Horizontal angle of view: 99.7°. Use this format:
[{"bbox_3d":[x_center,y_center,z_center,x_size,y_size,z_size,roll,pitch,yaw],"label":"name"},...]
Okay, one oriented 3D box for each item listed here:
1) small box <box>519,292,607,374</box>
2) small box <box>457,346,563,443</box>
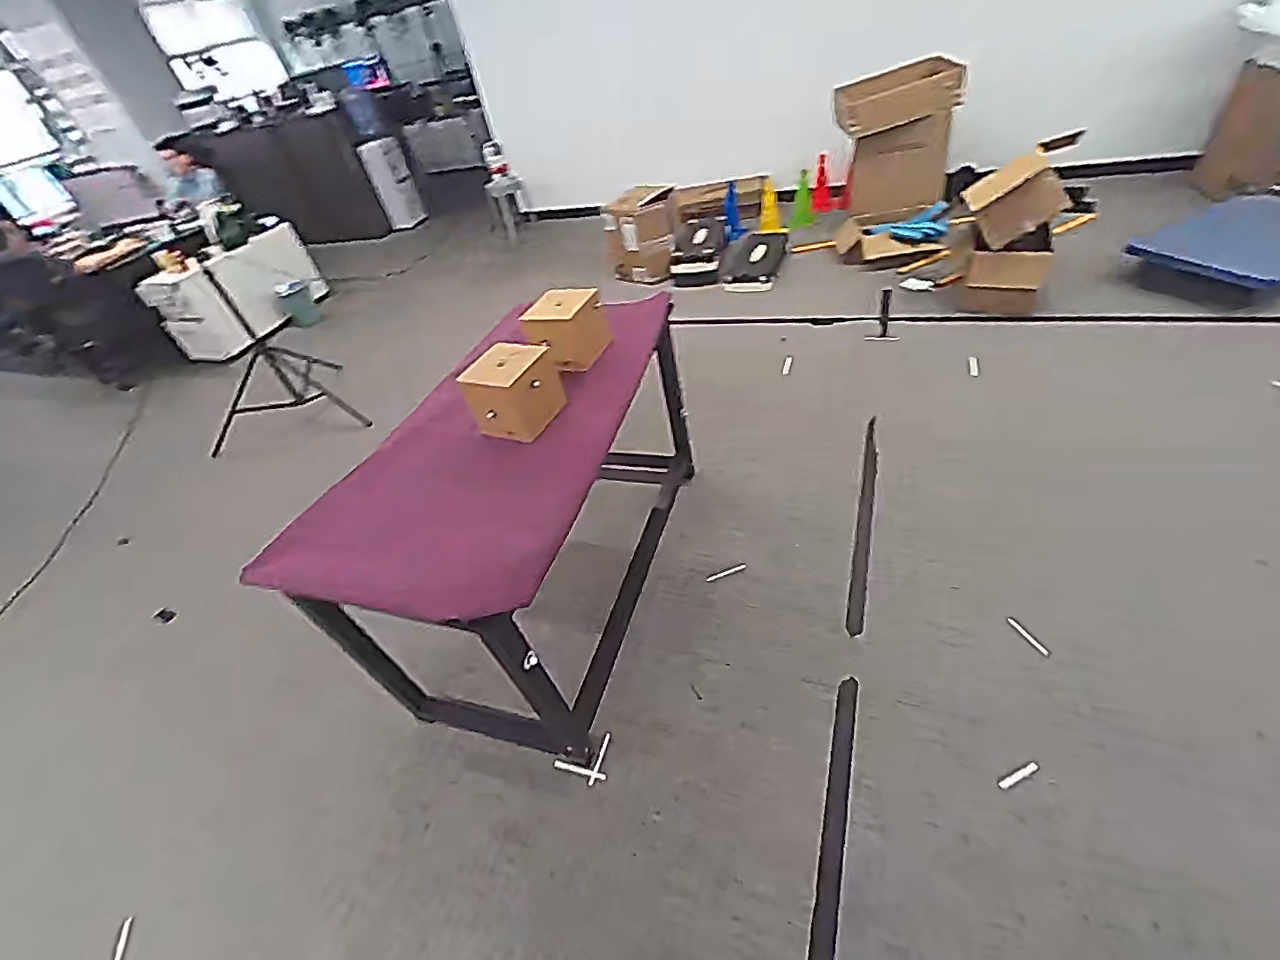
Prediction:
[{"bbox_3d":[-0.211,-0.418,1.549,0.168,0.176,0.179,7,46,24],"label":"small box"},{"bbox_3d":[-0.316,-0.214,1.357,0.168,0.176,0.179,12,48,25],"label":"small box"}]
